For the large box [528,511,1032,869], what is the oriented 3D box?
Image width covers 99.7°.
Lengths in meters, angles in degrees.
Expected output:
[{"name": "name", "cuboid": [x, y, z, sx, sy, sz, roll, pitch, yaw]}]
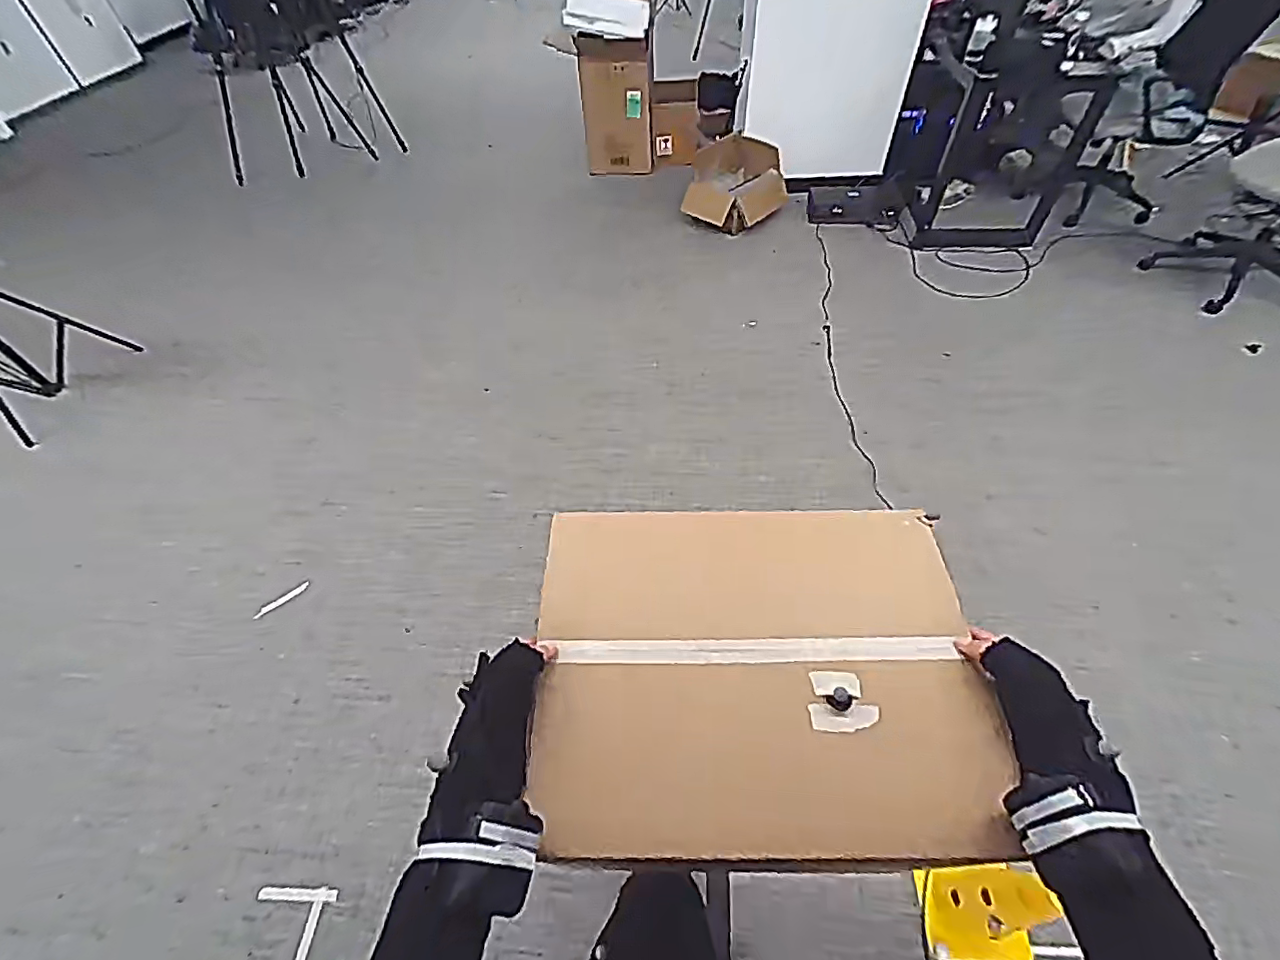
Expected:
[{"name": "large box", "cuboid": [0.108, 0.250, 0.627, 0.408, 0.320, 0.320, 0, 53, 1]}]
